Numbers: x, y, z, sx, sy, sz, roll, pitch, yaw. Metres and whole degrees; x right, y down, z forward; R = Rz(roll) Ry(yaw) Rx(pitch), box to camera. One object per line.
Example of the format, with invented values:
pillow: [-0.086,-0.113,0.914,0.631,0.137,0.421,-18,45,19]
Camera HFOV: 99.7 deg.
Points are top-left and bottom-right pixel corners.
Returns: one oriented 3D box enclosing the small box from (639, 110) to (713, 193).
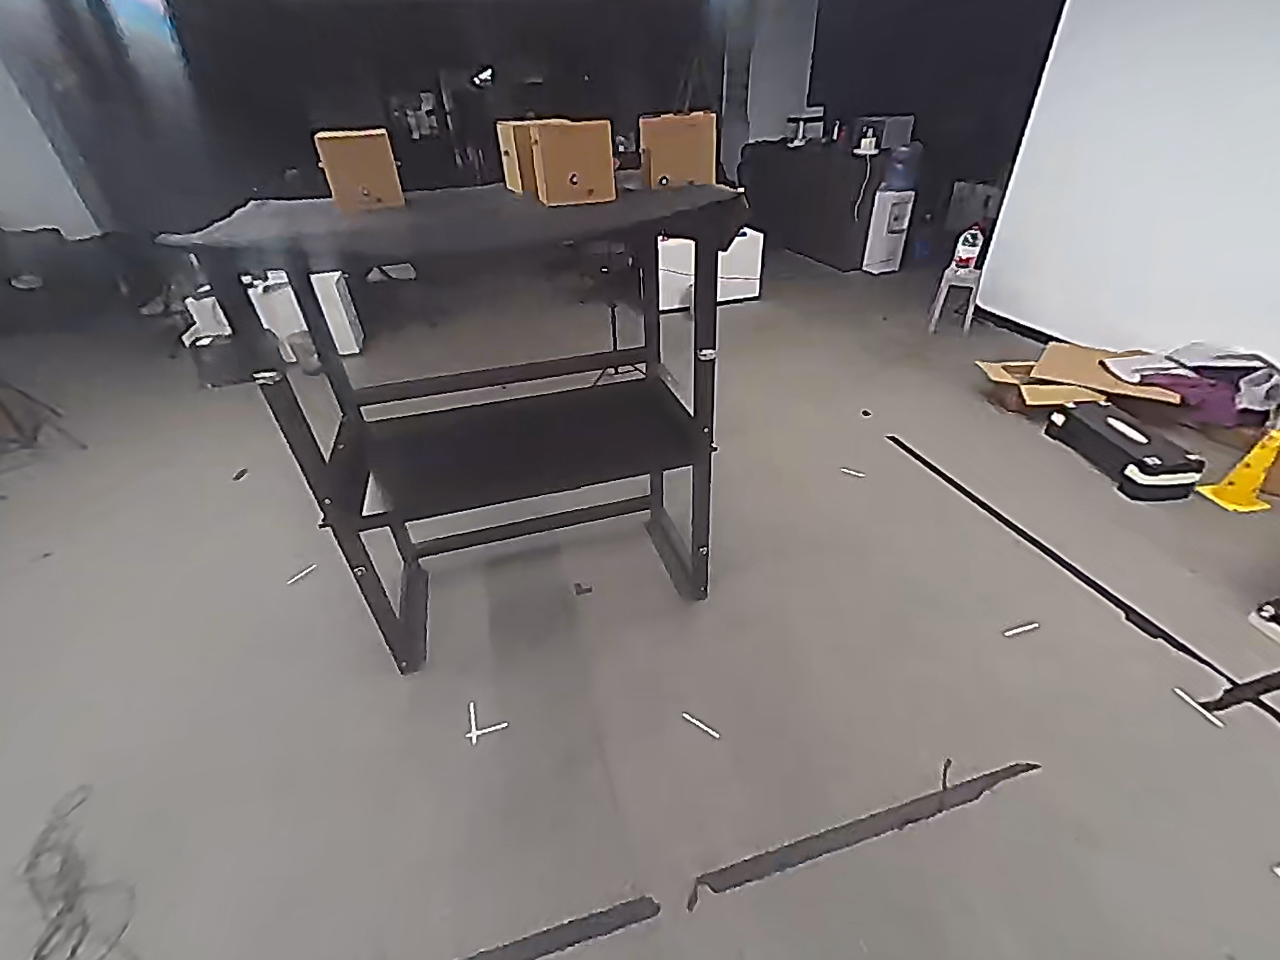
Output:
small box: [0.092,-0.840,1.388,0.168,0.176,0.179,-7,34,-4]

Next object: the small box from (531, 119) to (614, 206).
small box: [-0.166,-0.771,1.315,0.168,0.176,0.179,-12,35,-12]

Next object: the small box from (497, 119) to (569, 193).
small box: [-0.296,-0.923,1.540,0.168,0.176,0.179,-18,38,-19]
